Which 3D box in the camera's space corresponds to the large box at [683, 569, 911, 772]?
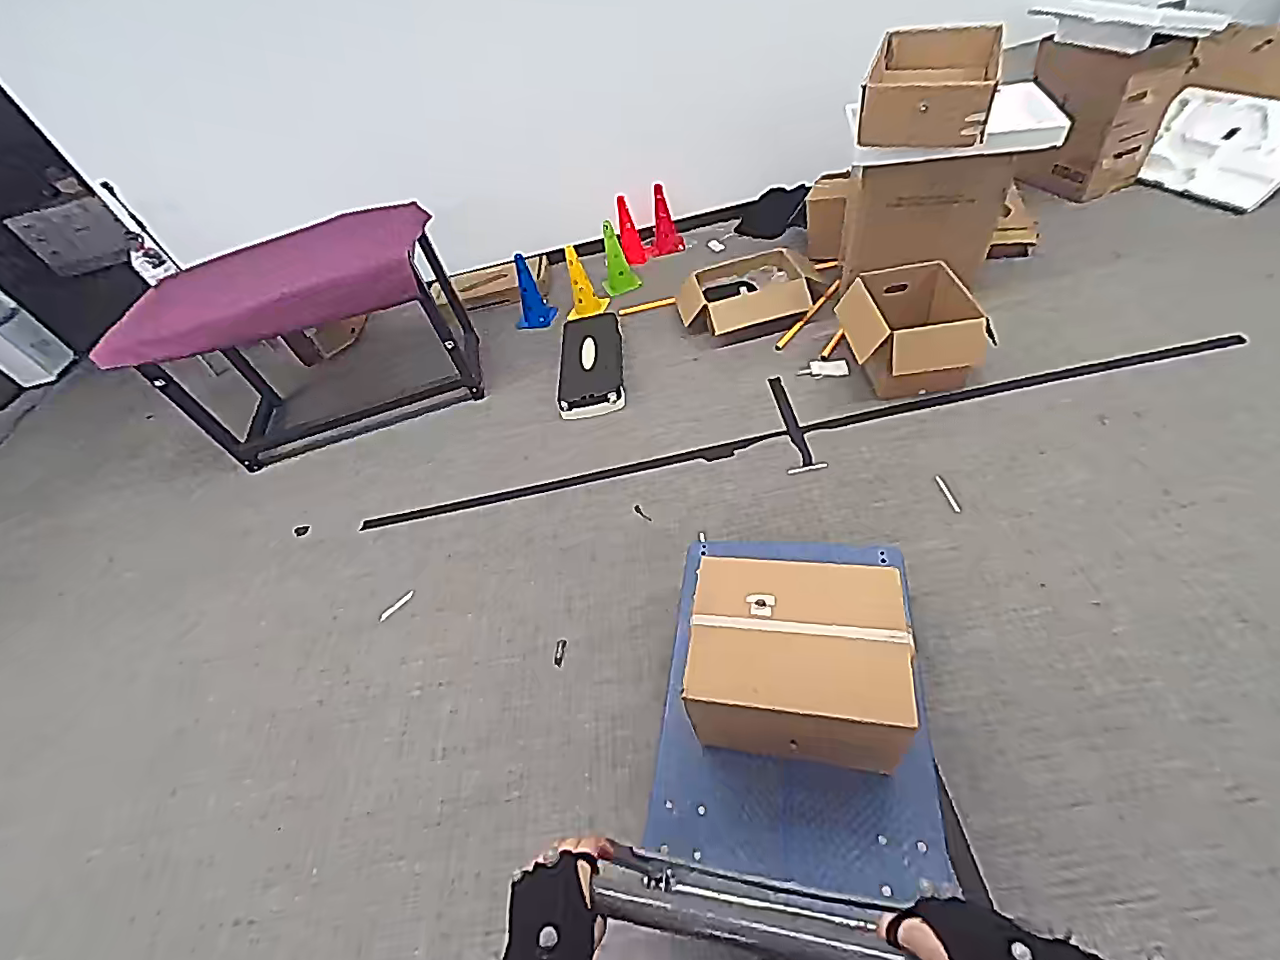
[{"bbox_3d":[0.330,0.408,1.172,0.408,0.320,0.320,0,48,16],"label":"large box"}]
